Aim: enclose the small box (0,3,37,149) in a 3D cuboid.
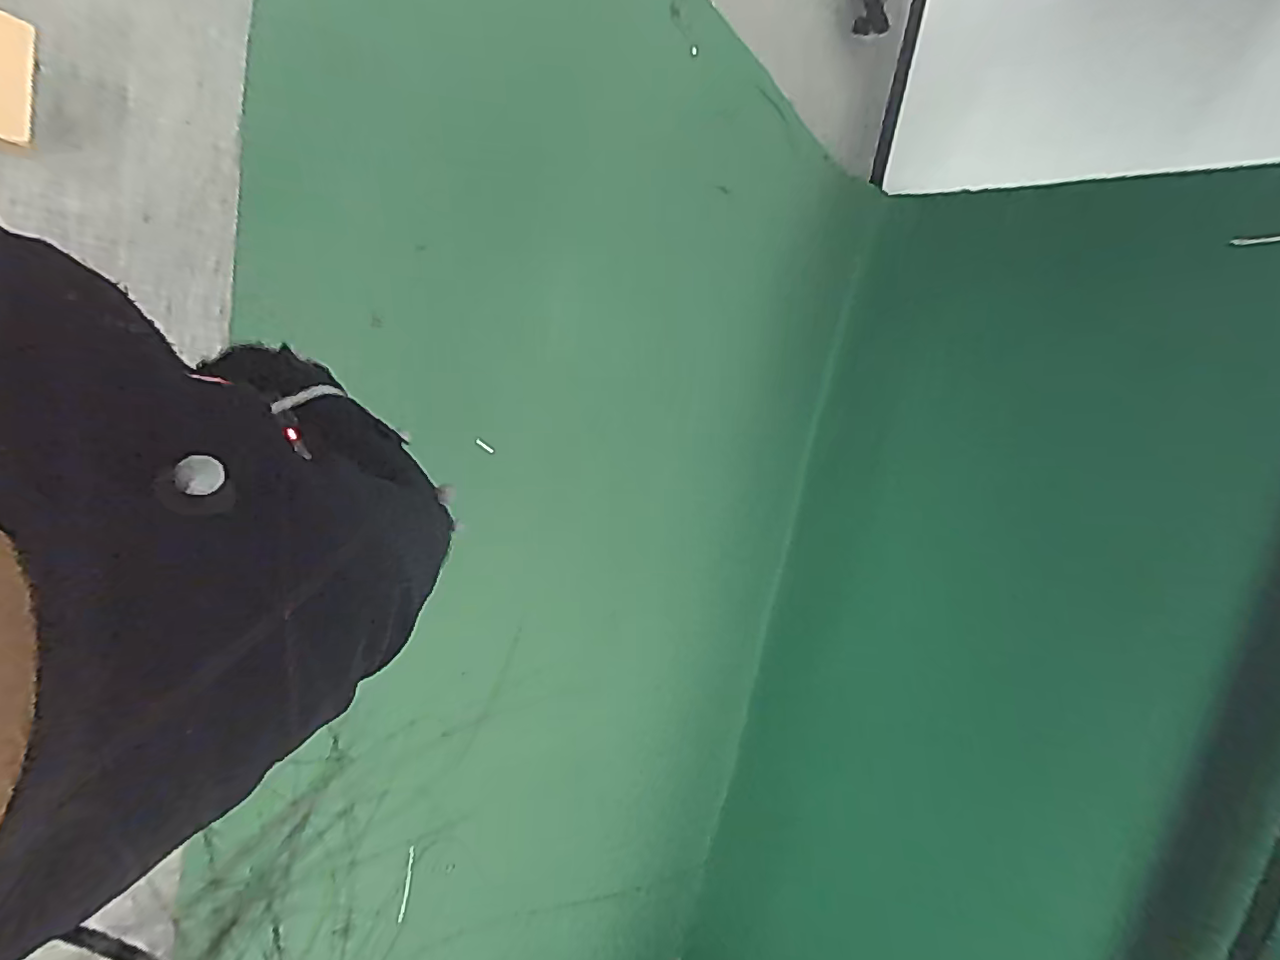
[{"bbox_3d":[-1.039,-0.633,0.812,0.168,0.176,0.179,4,102,-49],"label":"small box"}]
